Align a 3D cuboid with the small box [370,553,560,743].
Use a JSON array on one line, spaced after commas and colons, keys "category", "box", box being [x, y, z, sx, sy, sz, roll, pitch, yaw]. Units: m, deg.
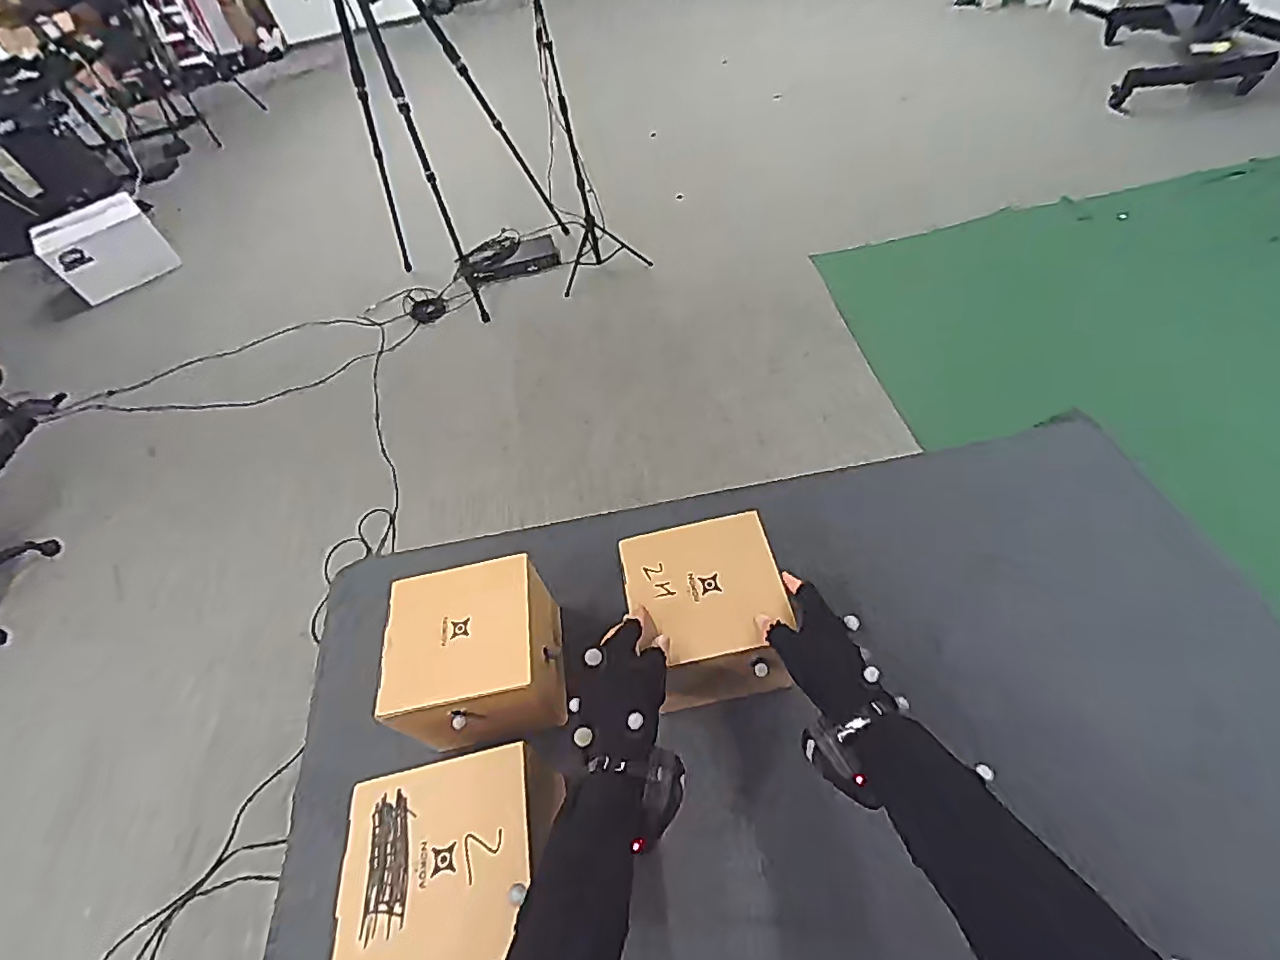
[{"category": "small box", "box": [-0.204, 0.217, 0.685, 0.179, 0.176, 0.168, -13, 52, 2]}]
